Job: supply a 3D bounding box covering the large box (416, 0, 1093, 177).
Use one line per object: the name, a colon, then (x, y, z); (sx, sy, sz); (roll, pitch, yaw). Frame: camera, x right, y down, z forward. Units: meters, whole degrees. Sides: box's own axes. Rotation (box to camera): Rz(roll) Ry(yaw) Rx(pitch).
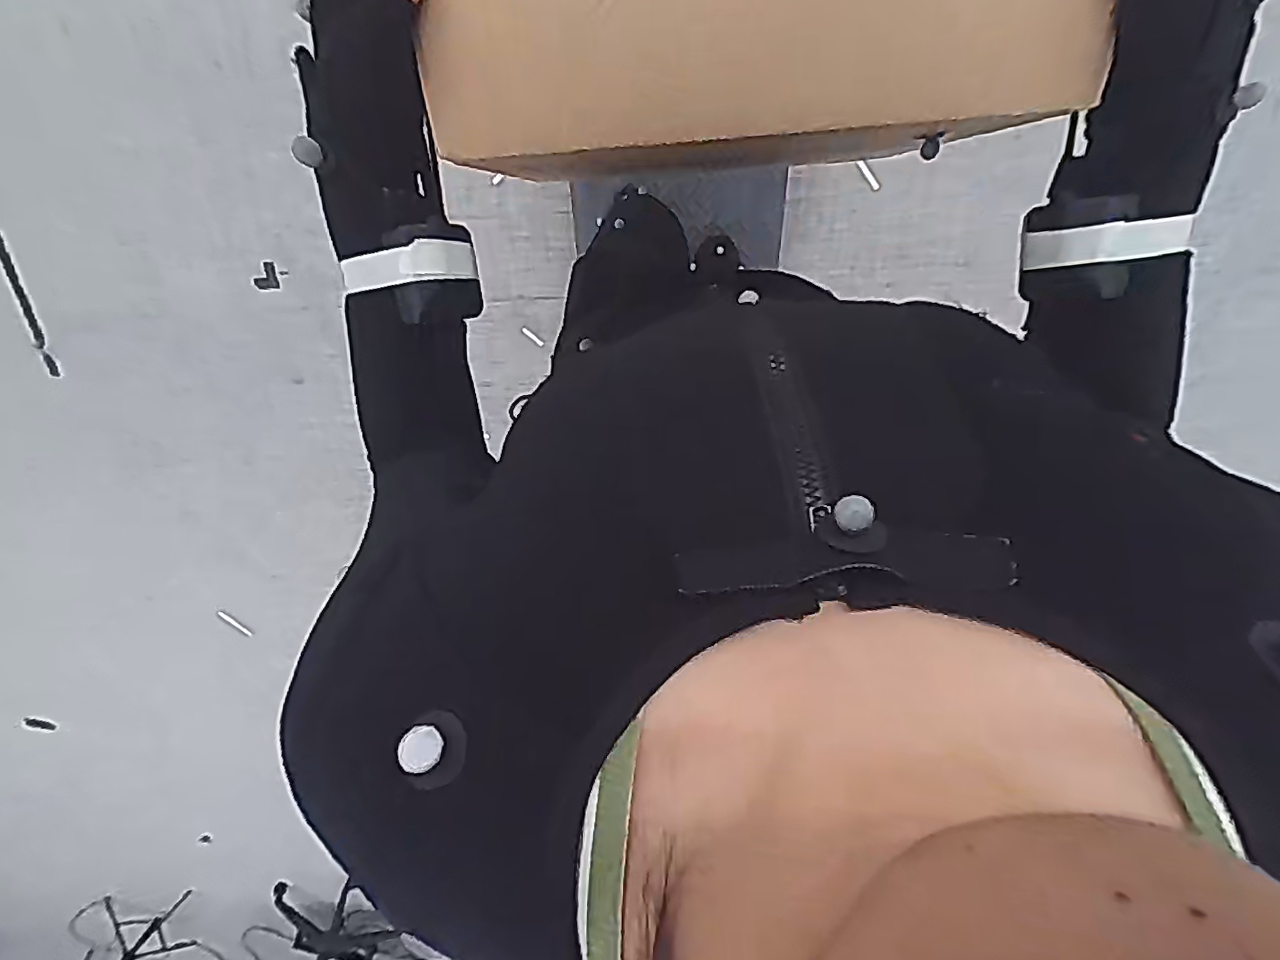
large box: (0.062, -0.425, 0.409); (0.408, 0.320, 0.320); (-3, 116, 2)
